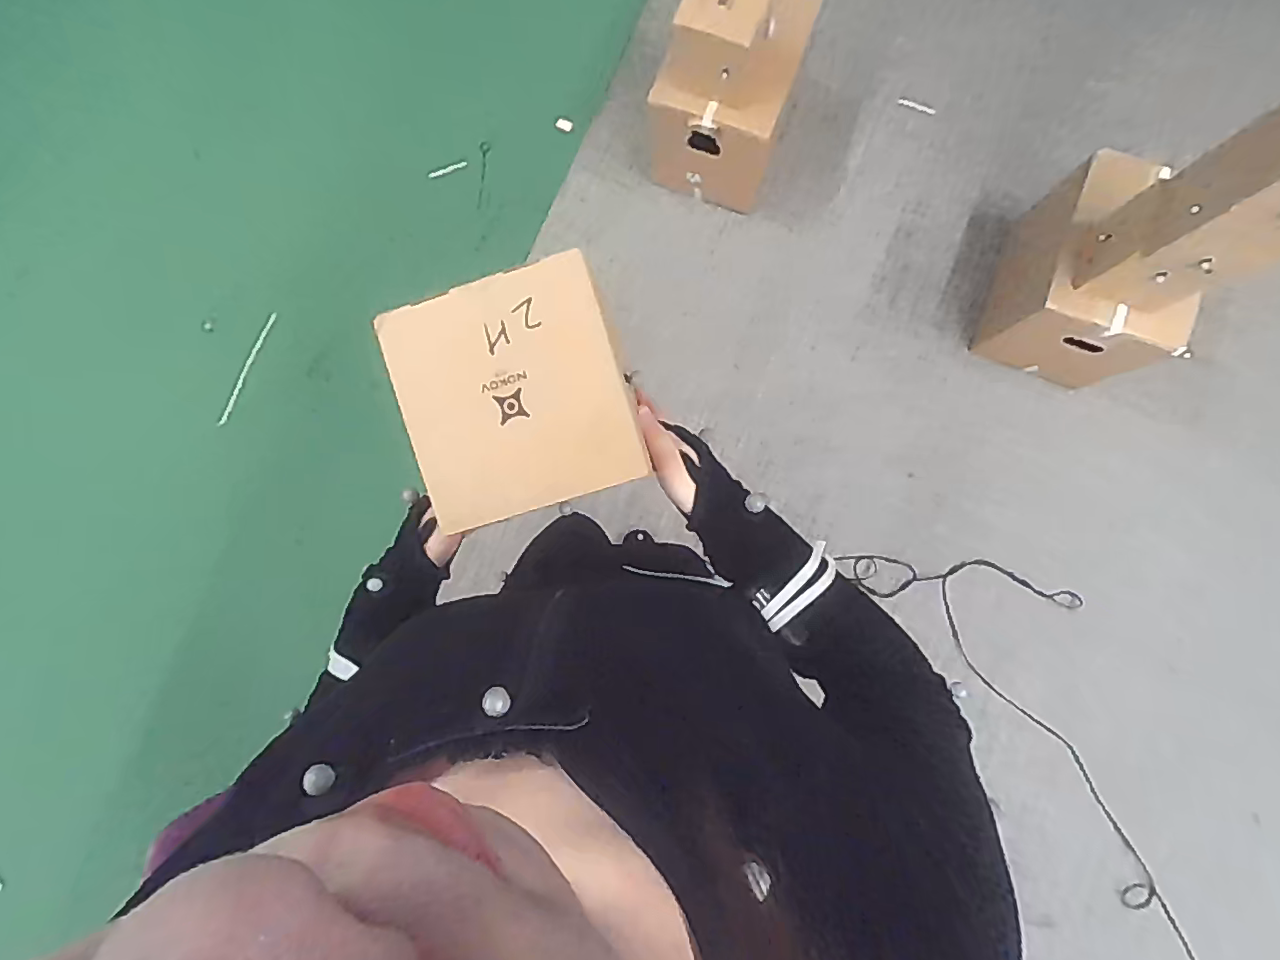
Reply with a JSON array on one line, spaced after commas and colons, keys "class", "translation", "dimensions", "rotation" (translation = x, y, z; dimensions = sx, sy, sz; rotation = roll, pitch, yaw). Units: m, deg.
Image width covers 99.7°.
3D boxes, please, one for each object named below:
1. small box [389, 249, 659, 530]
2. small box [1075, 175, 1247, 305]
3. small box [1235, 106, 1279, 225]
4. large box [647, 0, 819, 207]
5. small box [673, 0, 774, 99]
[{"class": "small box", "translation": [-0.083, -0.071, 0.483], "dimensions": [0.168, 0.176, 0.179], "rotation": [-16, 92, 5]}, {"class": "small box", "translation": [1.067, -0.483, 1.118], "dimensions": [0.179, 0.176, 0.168], "rotation": [20, 87, 5]}, {"class": "small box", "translation": [1.050, -0.494, 0.789], "dimensions": [0.168, 0.176, 0.179], "rotation": [23, 89, 5]}, {"class": "large box", "translation": [0.234, -1.030, 1.440], "dimensions": [0.320, 0.320, 0.408], "rotation": [21, 86, 4]}, {"class": "small box", "translation": [0.184, -0.992, 1.193], "dimensions": [0.179, 0.176, 0.168], "rotation": [24, 86, 6]}]
